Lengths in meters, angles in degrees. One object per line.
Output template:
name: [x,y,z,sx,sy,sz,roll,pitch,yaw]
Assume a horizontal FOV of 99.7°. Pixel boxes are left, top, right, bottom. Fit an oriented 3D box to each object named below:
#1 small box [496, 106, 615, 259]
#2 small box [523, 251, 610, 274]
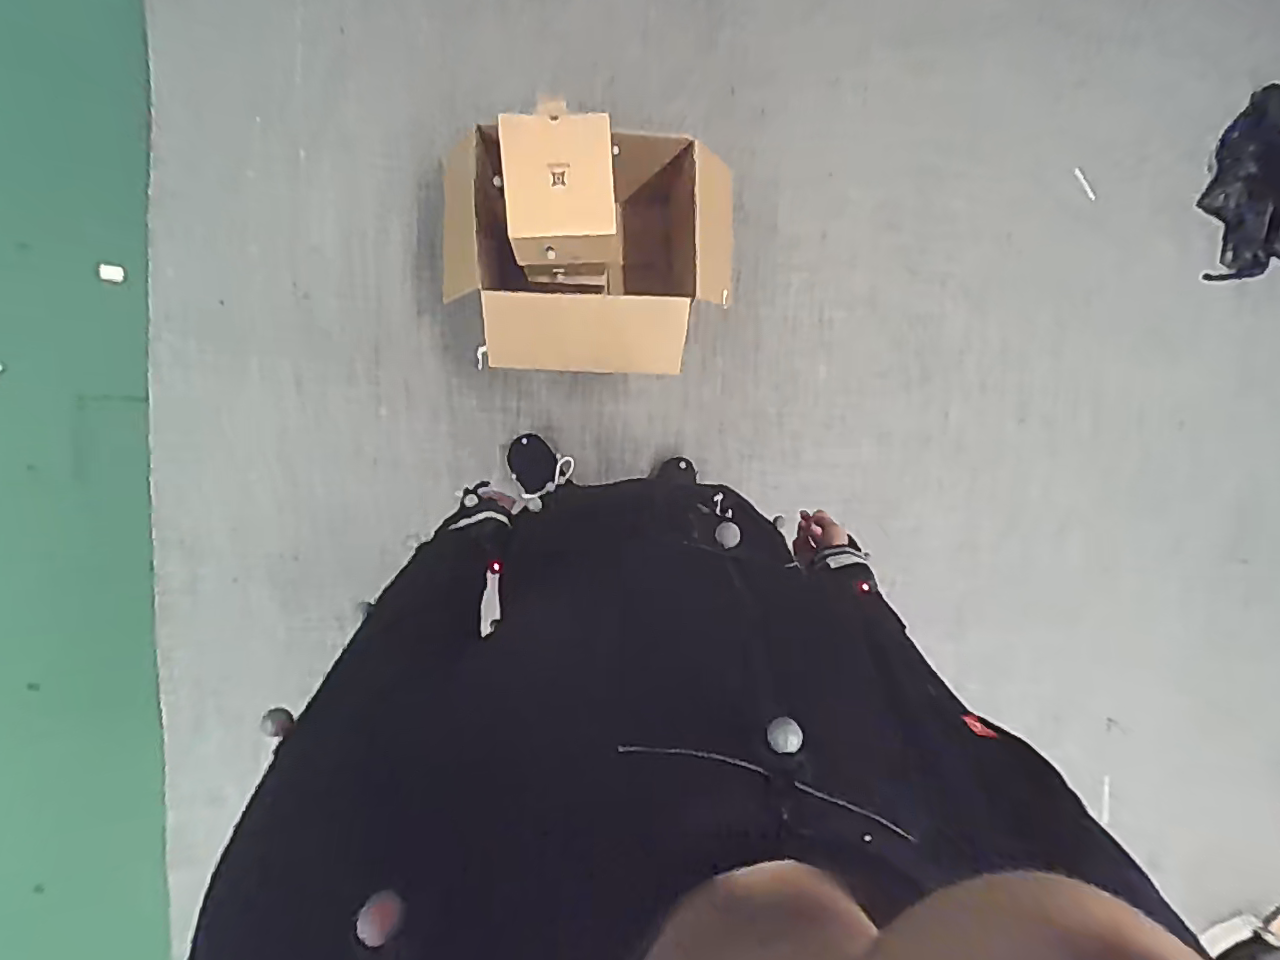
small box: [-0.130,-0.467,0.875,0.168,0.176,0.179,-5,97,-6]
small box: [-0.147,-0.506,1.032,0.168,0.176,0.179,-3,99,-7]
